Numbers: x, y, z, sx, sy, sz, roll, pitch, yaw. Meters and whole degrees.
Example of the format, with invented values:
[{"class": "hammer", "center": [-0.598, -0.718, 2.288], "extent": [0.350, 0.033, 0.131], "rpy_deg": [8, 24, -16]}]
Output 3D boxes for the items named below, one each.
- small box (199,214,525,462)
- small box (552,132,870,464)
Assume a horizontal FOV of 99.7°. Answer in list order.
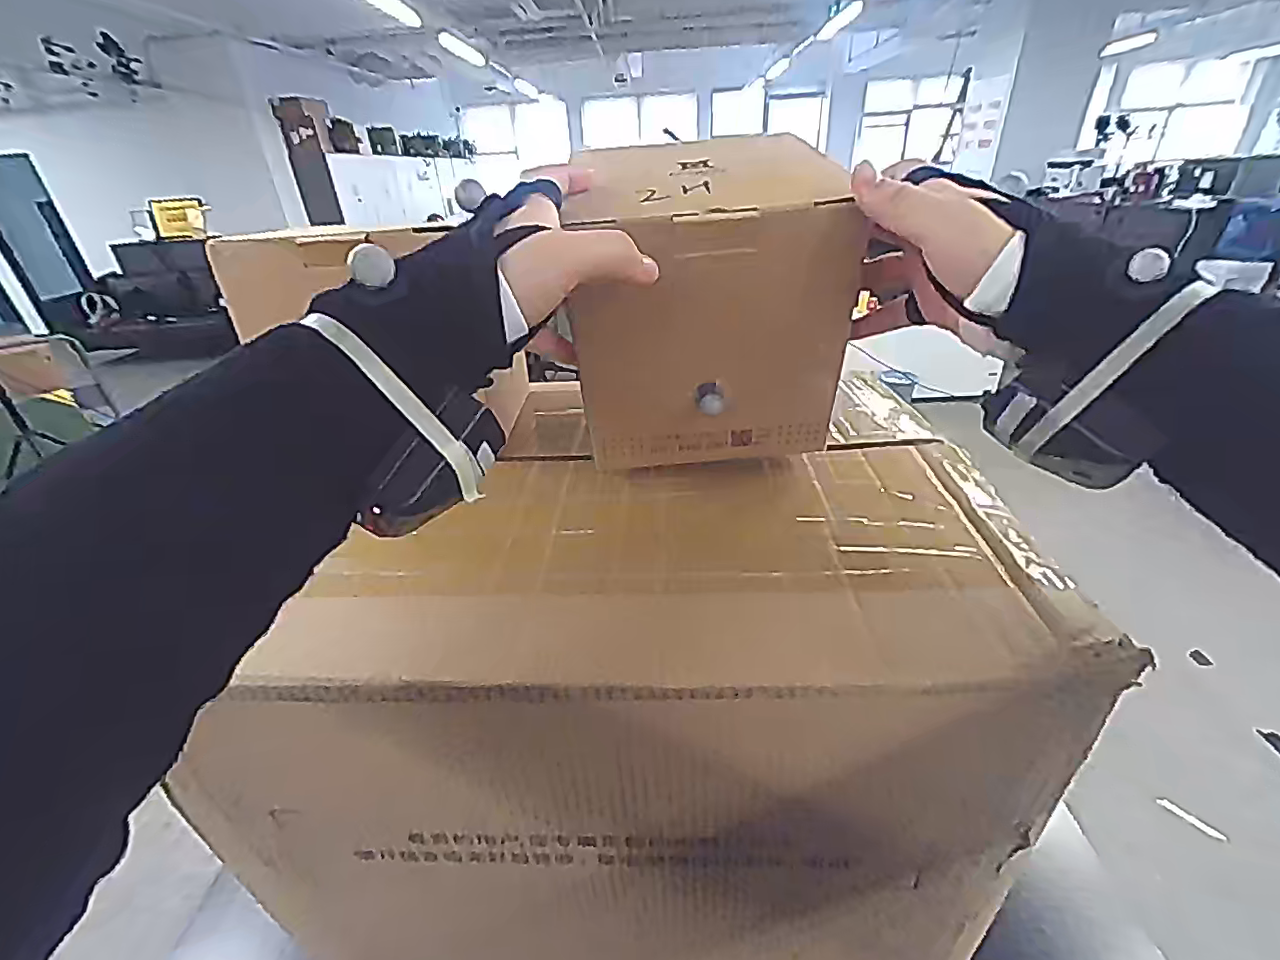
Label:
[{"class": "small box", "center": [-0.199, -0.121, 0.455], "extent": [0.168, 0.176, 0.179], "rpy_deg": [-4, 28, 0]}, {"class": "small box", "center": [0.038, -0.132, 0.388], "extent": [0.168, 0.176, 0.179], "rpy_deg": [-5, 42, 1]}]
